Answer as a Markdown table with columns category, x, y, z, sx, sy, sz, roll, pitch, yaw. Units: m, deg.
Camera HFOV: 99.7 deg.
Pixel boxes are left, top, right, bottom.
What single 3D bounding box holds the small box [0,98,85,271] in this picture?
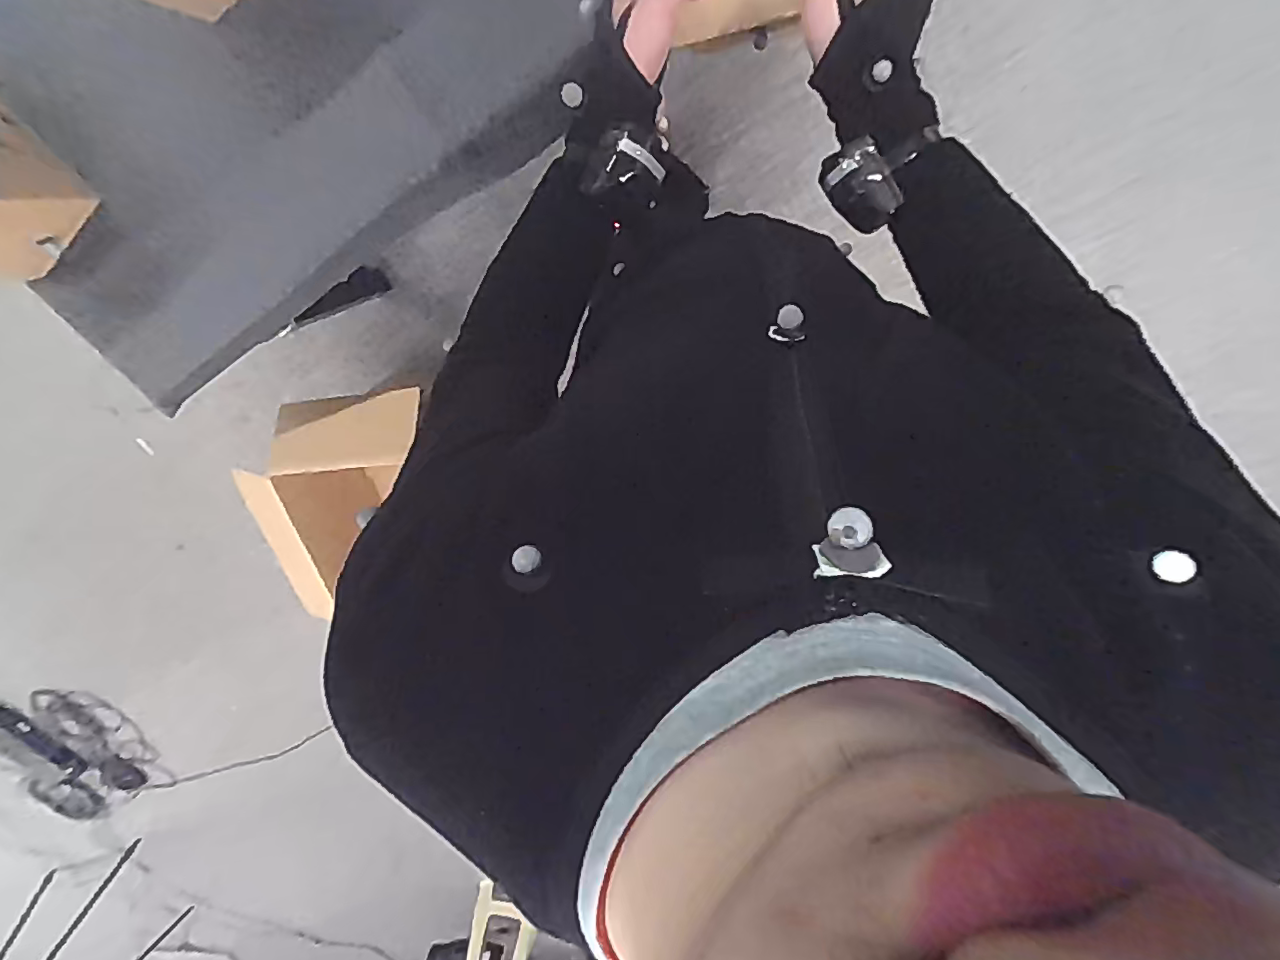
| category | x | y | z | sx | sy | sz | roll | pitch | yaw |
| --- | --- | --- | --- | --- | --- | --- | --- | --- | --- |
| small box | -0.826 | -0.359 | 0.631 | 0.179 | 0.176 | 0.168 | -32 | 112 | 19 |

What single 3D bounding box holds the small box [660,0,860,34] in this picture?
| category | x | y | z | sx | sy | sz | roll | pitch | yaw |
| --- | --- | --- | --- | --- | --- | --- | --- | --- | --- |
| small box | 0.113 | -0.481 | 0.432 | 0.179 | 0.176 | 0.168 | 2 | 126 | 20 |
